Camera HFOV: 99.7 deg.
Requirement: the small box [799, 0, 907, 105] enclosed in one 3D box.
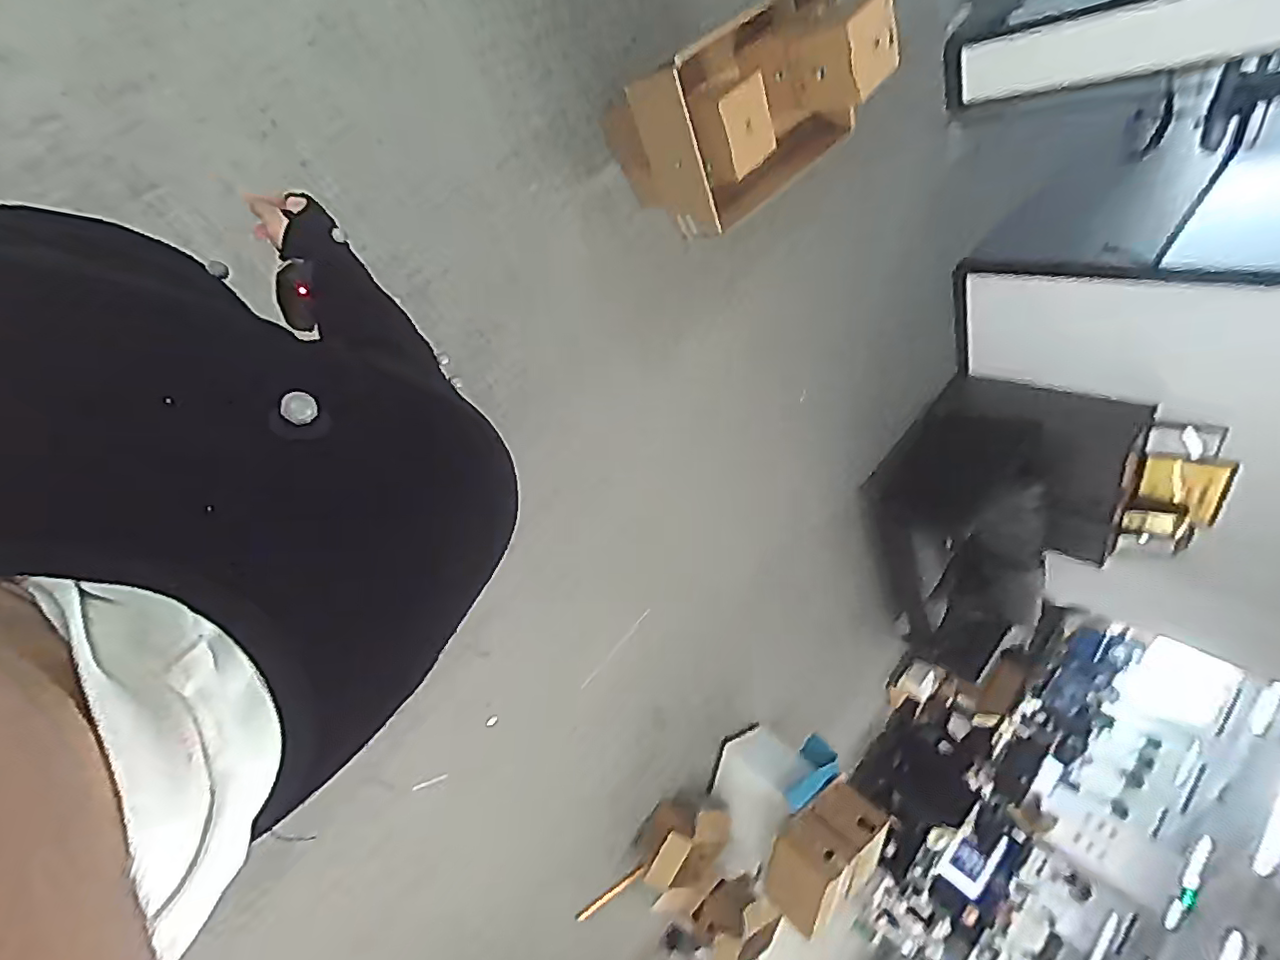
[{"bbox_3d":[0.497,-1.028,1.282,0.179,0.176,0.168,-47,133,-12],"label":"small box"}]
